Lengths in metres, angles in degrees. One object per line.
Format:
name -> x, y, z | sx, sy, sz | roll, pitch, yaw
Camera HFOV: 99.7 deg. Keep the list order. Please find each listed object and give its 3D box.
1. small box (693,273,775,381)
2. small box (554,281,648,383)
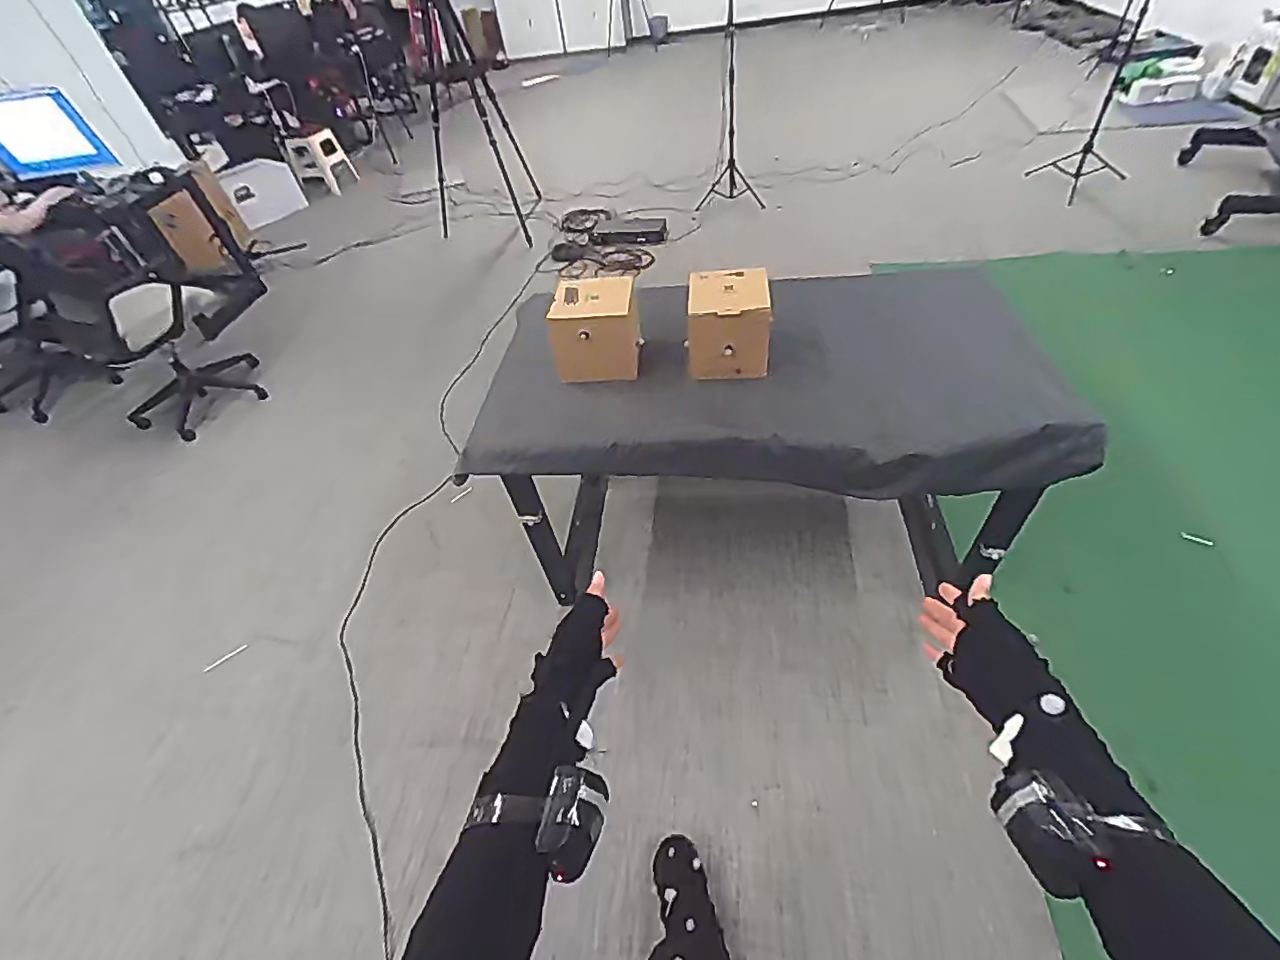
small box -> 0.208, -0.330, 1.190 | 0.168, 0.176, 0.179 | 0, 48, 9
small box -> -0.081, -0.334, 1.240 | 0.179, 0.176, 0.168 | -1, 47, 7
